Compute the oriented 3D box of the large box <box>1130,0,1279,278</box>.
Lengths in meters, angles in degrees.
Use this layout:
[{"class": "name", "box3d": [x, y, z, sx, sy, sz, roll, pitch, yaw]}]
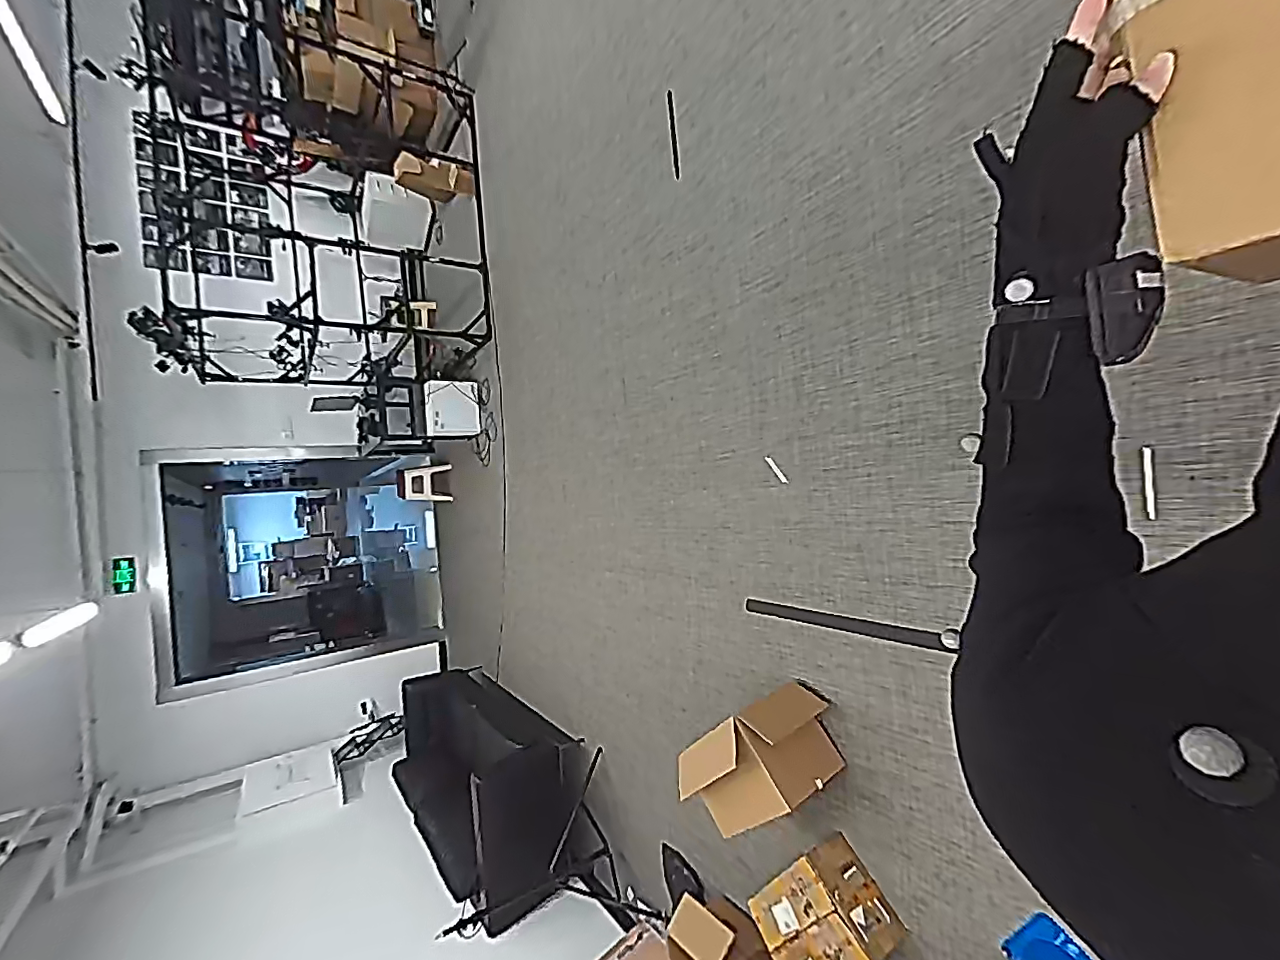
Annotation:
[{"class": "large box", "box3d": [0.521, -0.326, 0.246, 0.408, 0.320, 0.320, -8, 93, 55]}]
